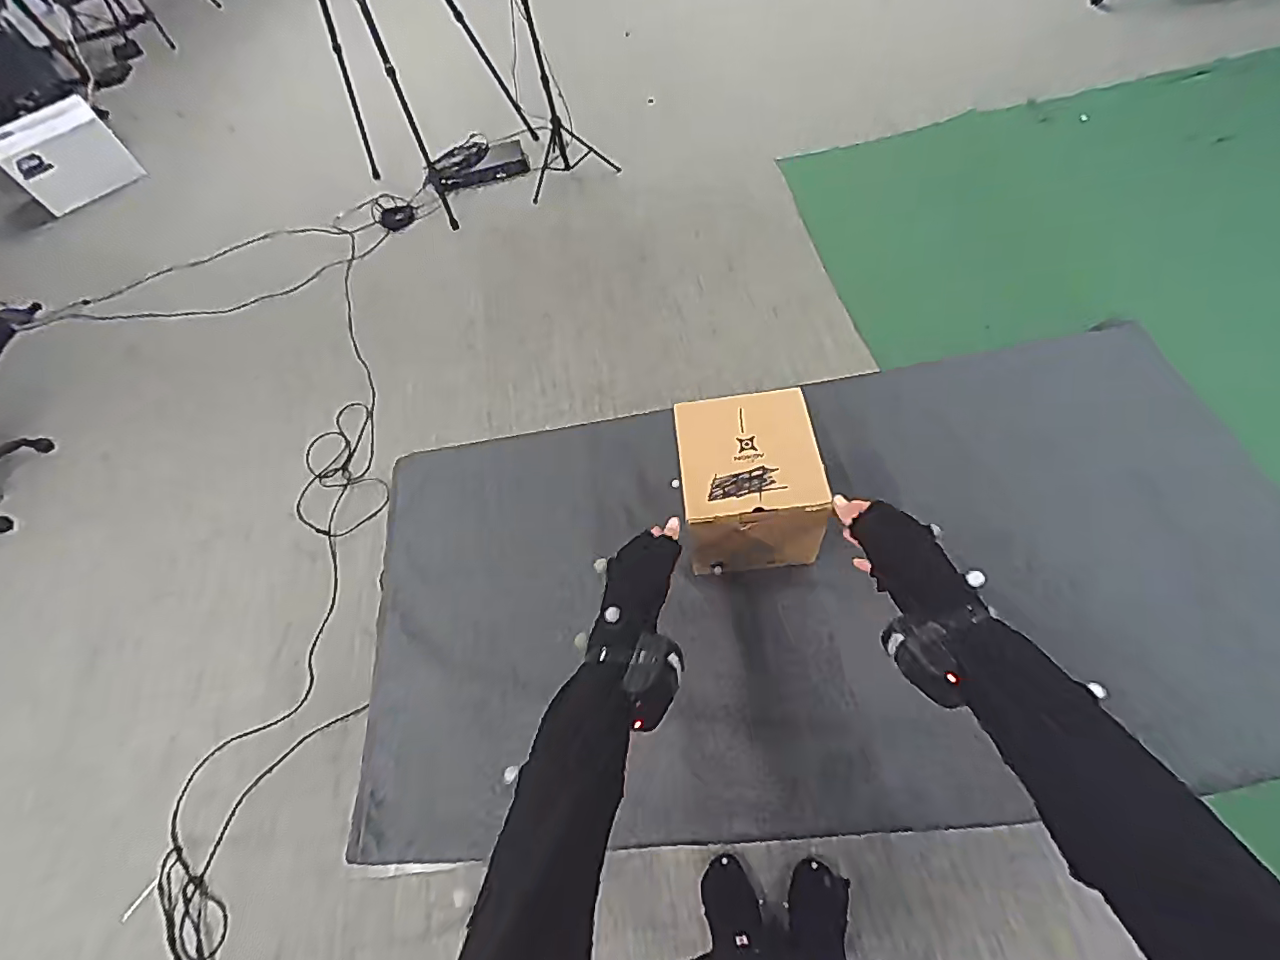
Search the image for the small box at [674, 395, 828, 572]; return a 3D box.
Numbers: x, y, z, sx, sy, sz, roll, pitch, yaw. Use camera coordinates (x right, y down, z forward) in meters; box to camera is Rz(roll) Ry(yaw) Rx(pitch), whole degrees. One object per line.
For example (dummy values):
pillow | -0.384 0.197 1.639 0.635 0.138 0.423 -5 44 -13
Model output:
small box | 0.139 0.014 0.719 0.168 0.176 0.179 -6 57 5
